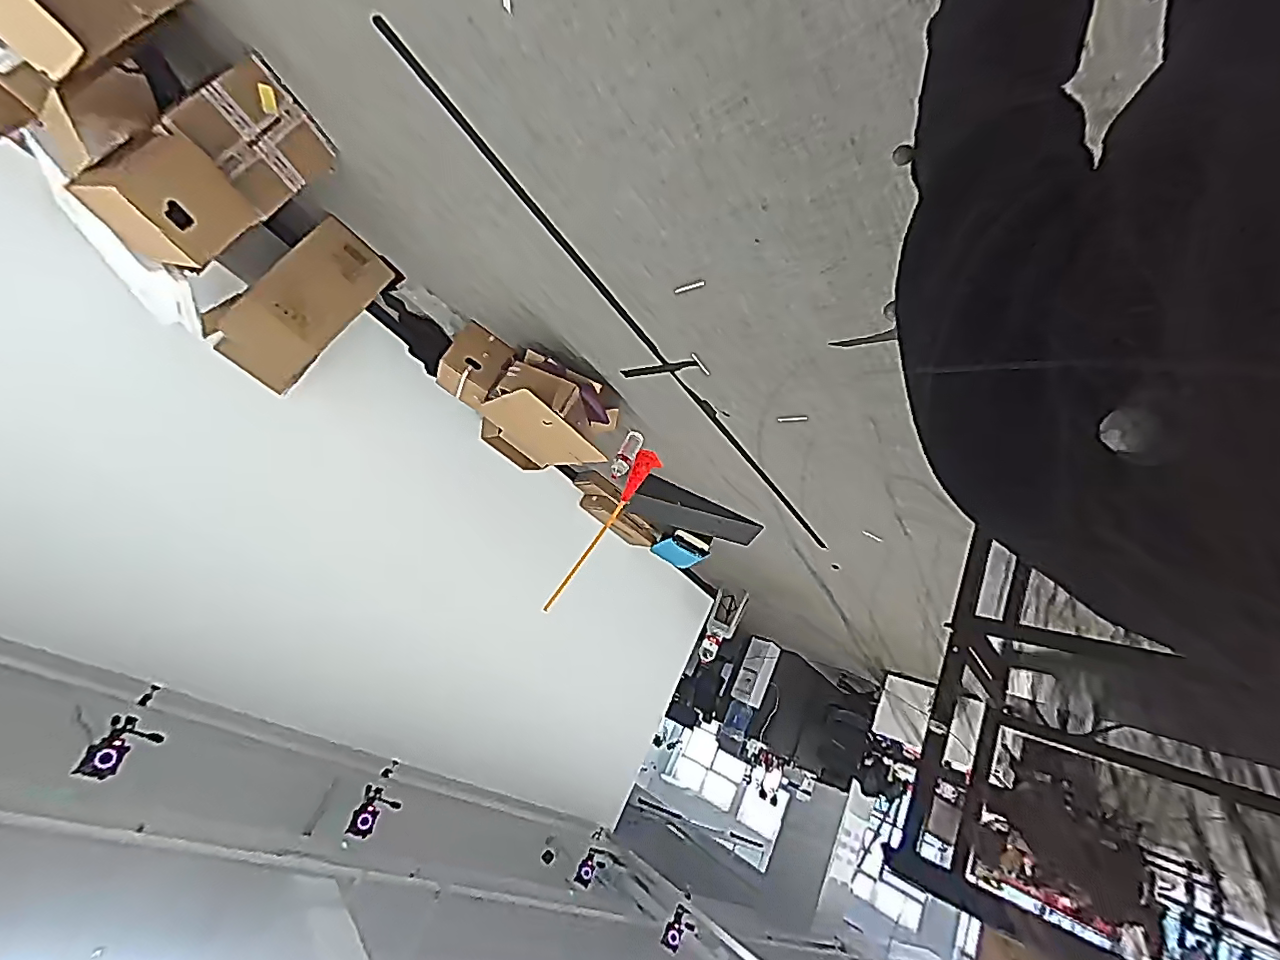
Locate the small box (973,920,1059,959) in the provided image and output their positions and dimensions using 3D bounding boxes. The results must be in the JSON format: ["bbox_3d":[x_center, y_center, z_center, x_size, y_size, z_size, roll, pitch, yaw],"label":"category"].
[{"bbox_3d":[0.948,1.250,1.357,0.168,0.176,0.179,3,149,47],"label":"small box"}]
